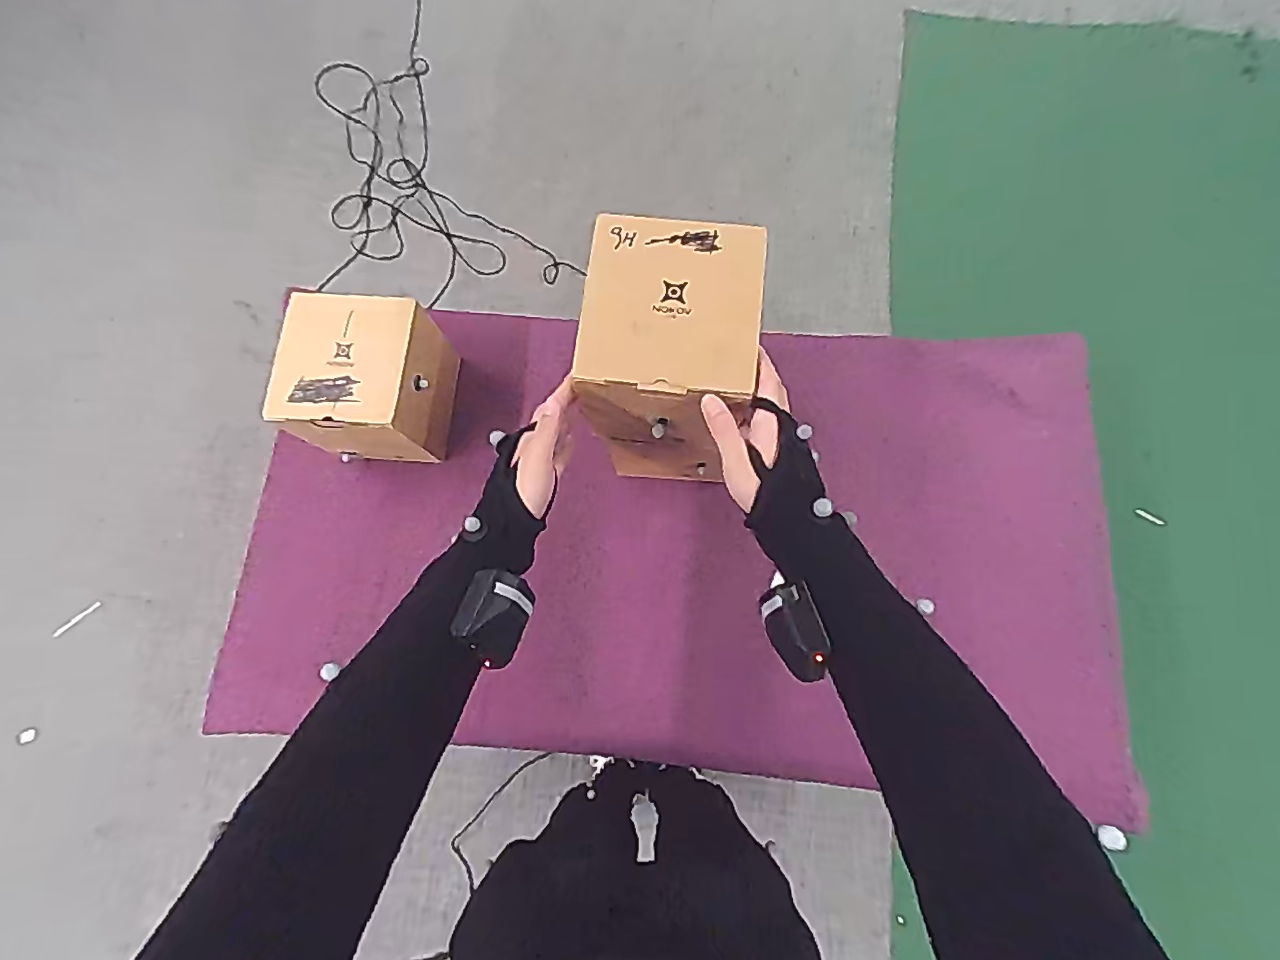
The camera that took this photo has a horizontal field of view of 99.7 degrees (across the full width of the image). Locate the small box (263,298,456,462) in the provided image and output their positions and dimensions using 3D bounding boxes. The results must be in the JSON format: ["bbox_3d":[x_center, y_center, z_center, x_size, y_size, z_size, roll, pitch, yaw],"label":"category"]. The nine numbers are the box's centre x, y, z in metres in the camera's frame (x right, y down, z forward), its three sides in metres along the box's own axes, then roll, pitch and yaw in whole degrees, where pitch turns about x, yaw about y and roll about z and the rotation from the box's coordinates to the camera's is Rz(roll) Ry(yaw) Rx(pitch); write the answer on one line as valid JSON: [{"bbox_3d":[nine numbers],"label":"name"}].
[{"bbox_3d":[-0.373,-0.130,0.755,0.168,0.176,0.179,3,76,2],"label":"small box"}]

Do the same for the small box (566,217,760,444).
[{"bbox_3d":[0.027,-0.145,0.577,0.168,0.176,0.179,6,78,3],"label":"small box"}]

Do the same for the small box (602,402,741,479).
[{"bbox_3d":[0.047,-0.105,0.734,0.168,0.176,0.179,4,76,4],"label":"small box"}]
